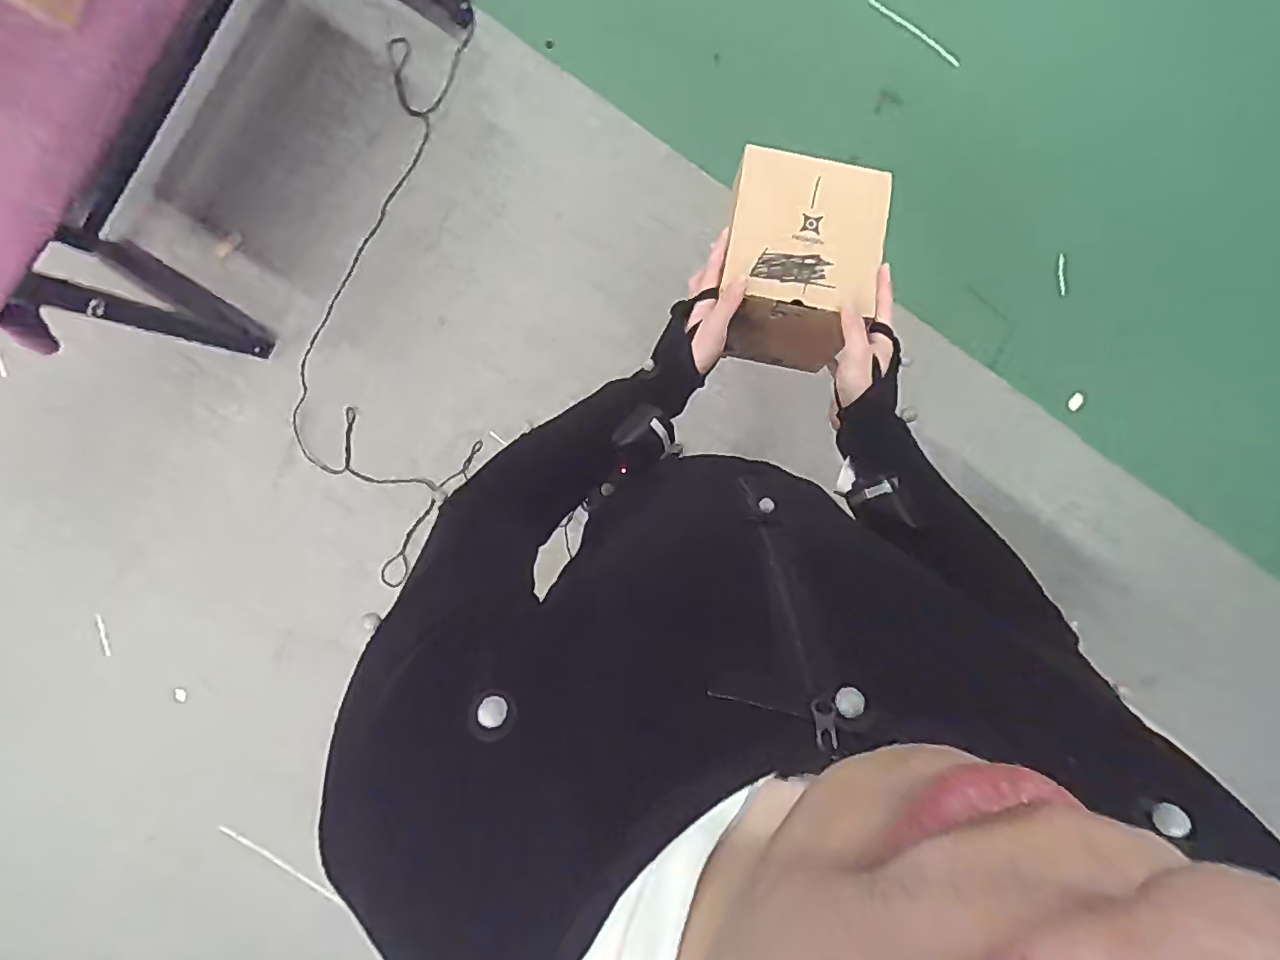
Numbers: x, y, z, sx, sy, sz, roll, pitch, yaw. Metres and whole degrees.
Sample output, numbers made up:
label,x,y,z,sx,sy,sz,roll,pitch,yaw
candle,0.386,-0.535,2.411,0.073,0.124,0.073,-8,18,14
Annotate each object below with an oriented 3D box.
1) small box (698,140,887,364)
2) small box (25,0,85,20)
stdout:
label,x,y,z,sx,sy,sz,roll,pitch,yaw
small box,0.168,-0.255,0.645,0.168,0.176,0.179,10,82,-1
small box,-0.942,-0.833,0.787,0.179,0.176,0.168,31,93,1
